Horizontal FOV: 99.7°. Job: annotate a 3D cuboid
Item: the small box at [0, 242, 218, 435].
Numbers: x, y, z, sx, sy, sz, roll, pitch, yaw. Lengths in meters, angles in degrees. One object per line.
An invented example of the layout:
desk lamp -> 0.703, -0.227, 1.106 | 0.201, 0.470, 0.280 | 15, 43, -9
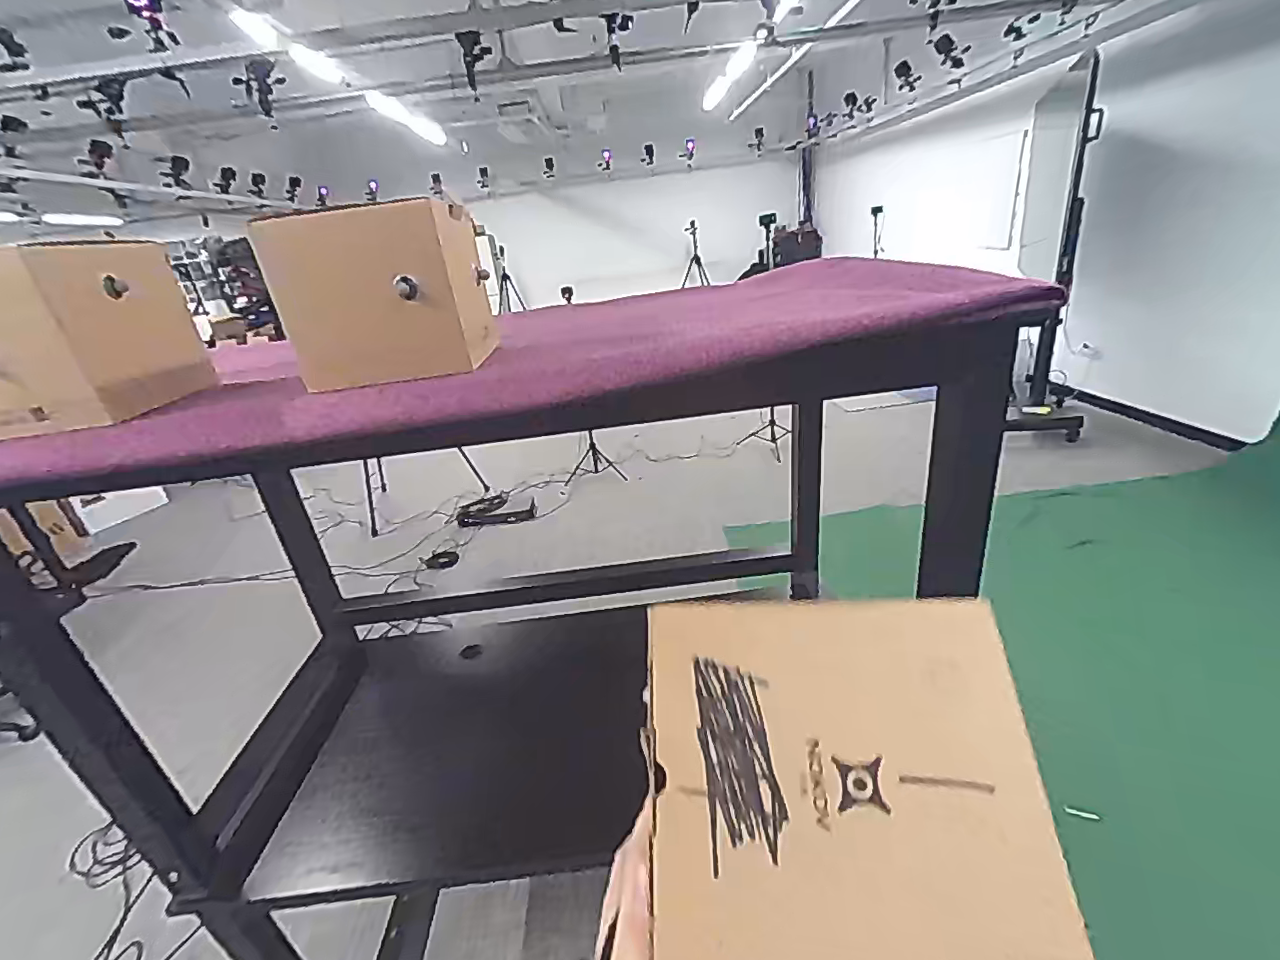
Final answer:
small box -> -0.606, -0.150, 0.576 | 0.168, 0.176, 0.179 | -7, 24, -2

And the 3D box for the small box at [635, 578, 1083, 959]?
small box -> 0.095, 0.161, 0.319 | 0.179, 0.176, 0.168 | -2, 64, 5

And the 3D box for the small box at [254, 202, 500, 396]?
small box -> -0.269, -0.203, 0.607 | 0.179, 0.176, 0.168 | -9, 23, -1
